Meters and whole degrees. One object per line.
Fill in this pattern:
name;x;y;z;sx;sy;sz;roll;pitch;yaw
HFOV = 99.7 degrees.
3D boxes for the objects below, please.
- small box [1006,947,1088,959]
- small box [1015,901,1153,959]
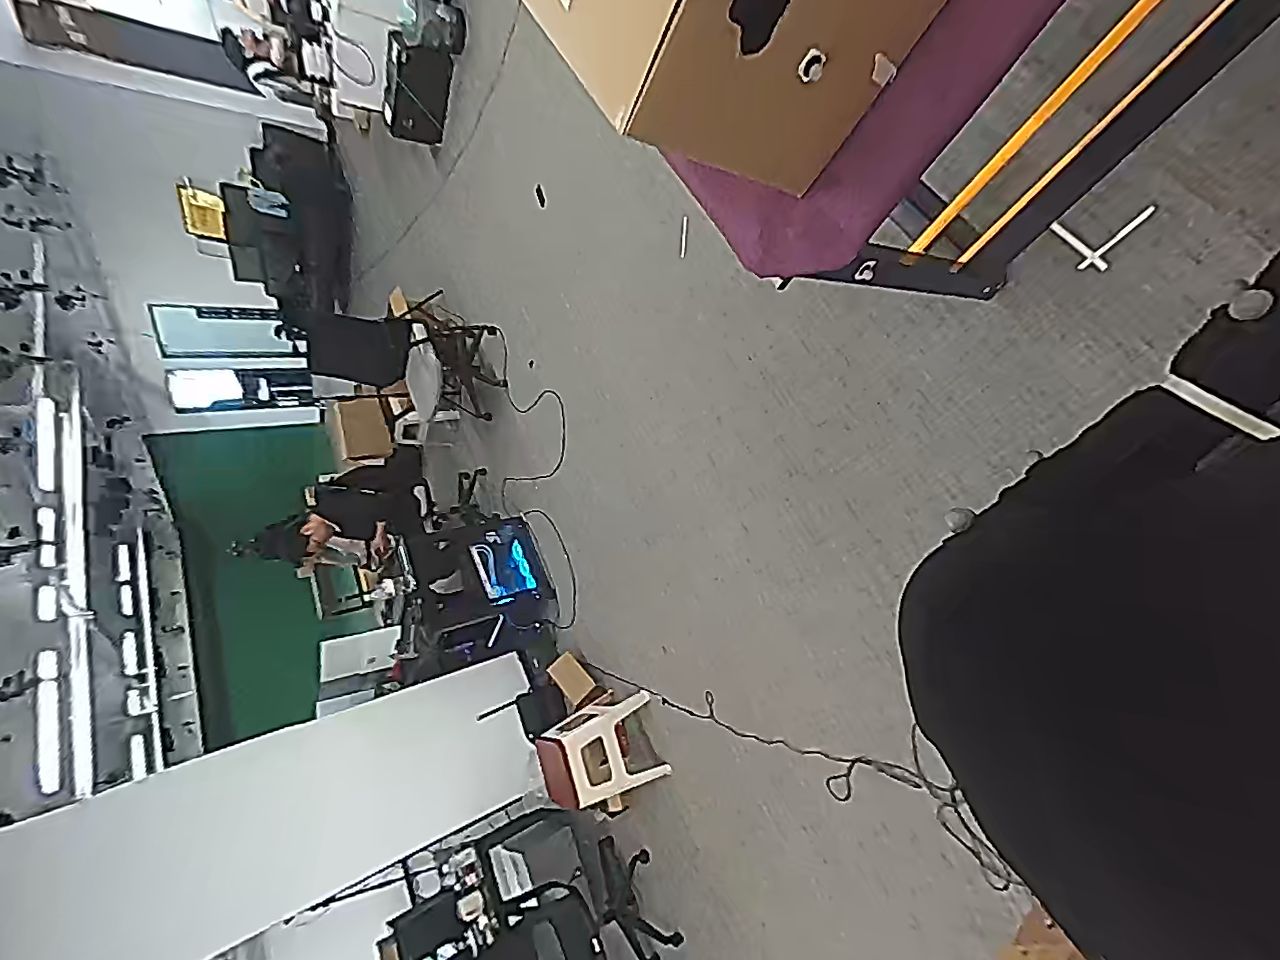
small box;0.848;1.083;1.085;0.179;0.176;0.168;58;139;25
small box;0.979;1.061;1.177;0.168;0.176;0.179;57;138;27
